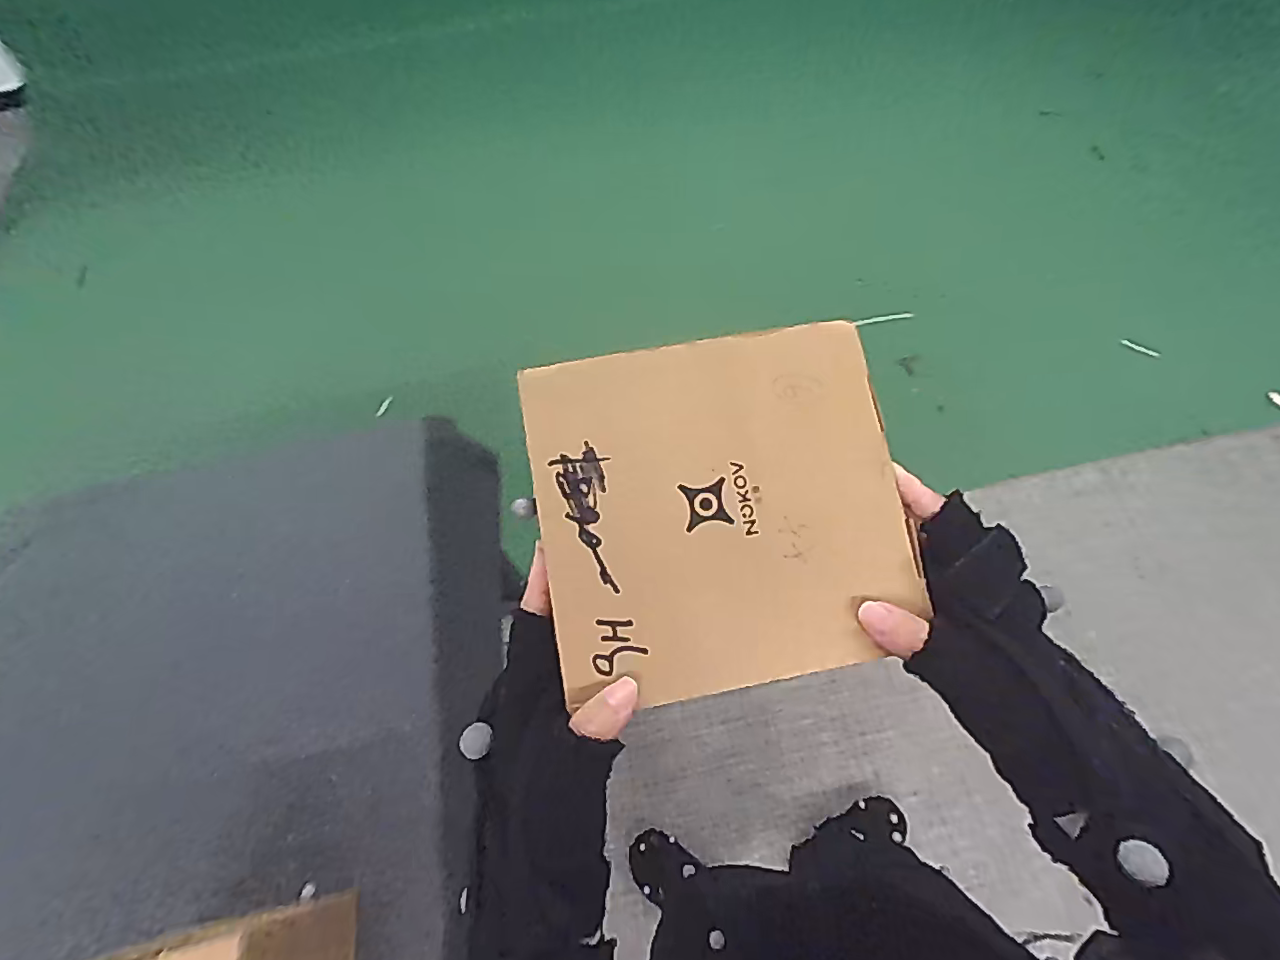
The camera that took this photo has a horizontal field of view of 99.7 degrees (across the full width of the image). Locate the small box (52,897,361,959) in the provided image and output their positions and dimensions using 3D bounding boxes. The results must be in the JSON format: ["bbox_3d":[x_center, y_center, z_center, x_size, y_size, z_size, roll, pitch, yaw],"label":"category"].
[{"bbox_3d":[-0.349,0.460,0.432,0.168,0.176,0.179,-11,61,1],"label":"small box"}]

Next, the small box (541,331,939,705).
[{"bbox_3d":[0.041,0.027,0.340,0.179,0.176,0.168,-8,78,-5],"label":"small box"}]
